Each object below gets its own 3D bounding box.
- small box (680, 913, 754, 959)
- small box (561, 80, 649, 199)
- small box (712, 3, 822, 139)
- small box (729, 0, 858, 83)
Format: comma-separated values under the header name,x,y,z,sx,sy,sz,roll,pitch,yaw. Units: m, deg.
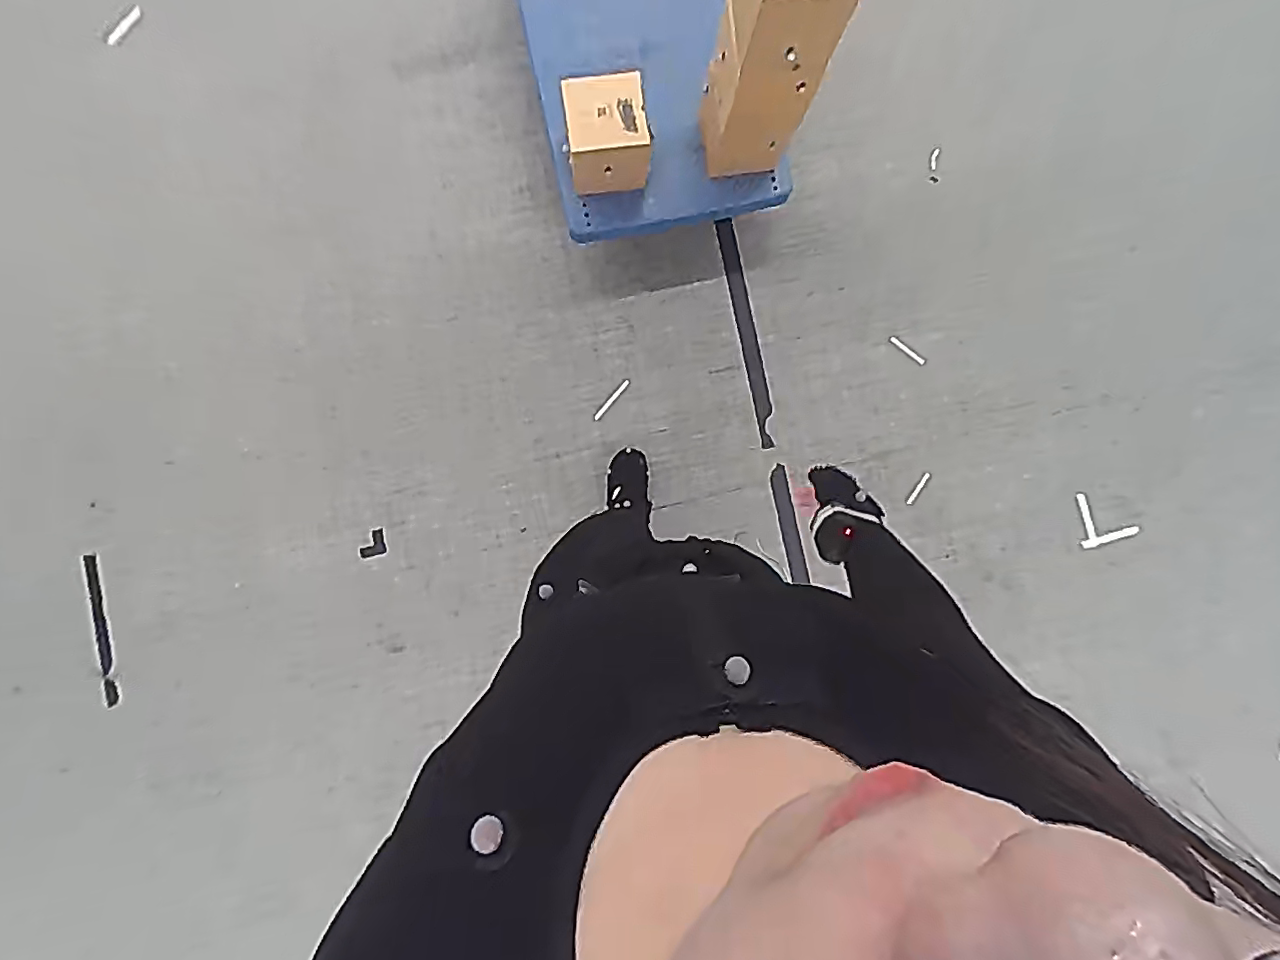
name,x,y,z,sx,sy,sz,roll,pitch,yaw
small box,0.200,1.261,1.391,0.168,0.176,0.179,-6,89,-2
small box,-0.081,-0.783,1.257,0.179,0.176,0.168,-8,88,-3
small box,0.251,-0.836,1.114,0.179,0.176,0.168,-7,88,-4
small box,0.260,-0.847,0.950,0.168,0.176,0.179,-6,88,-4
